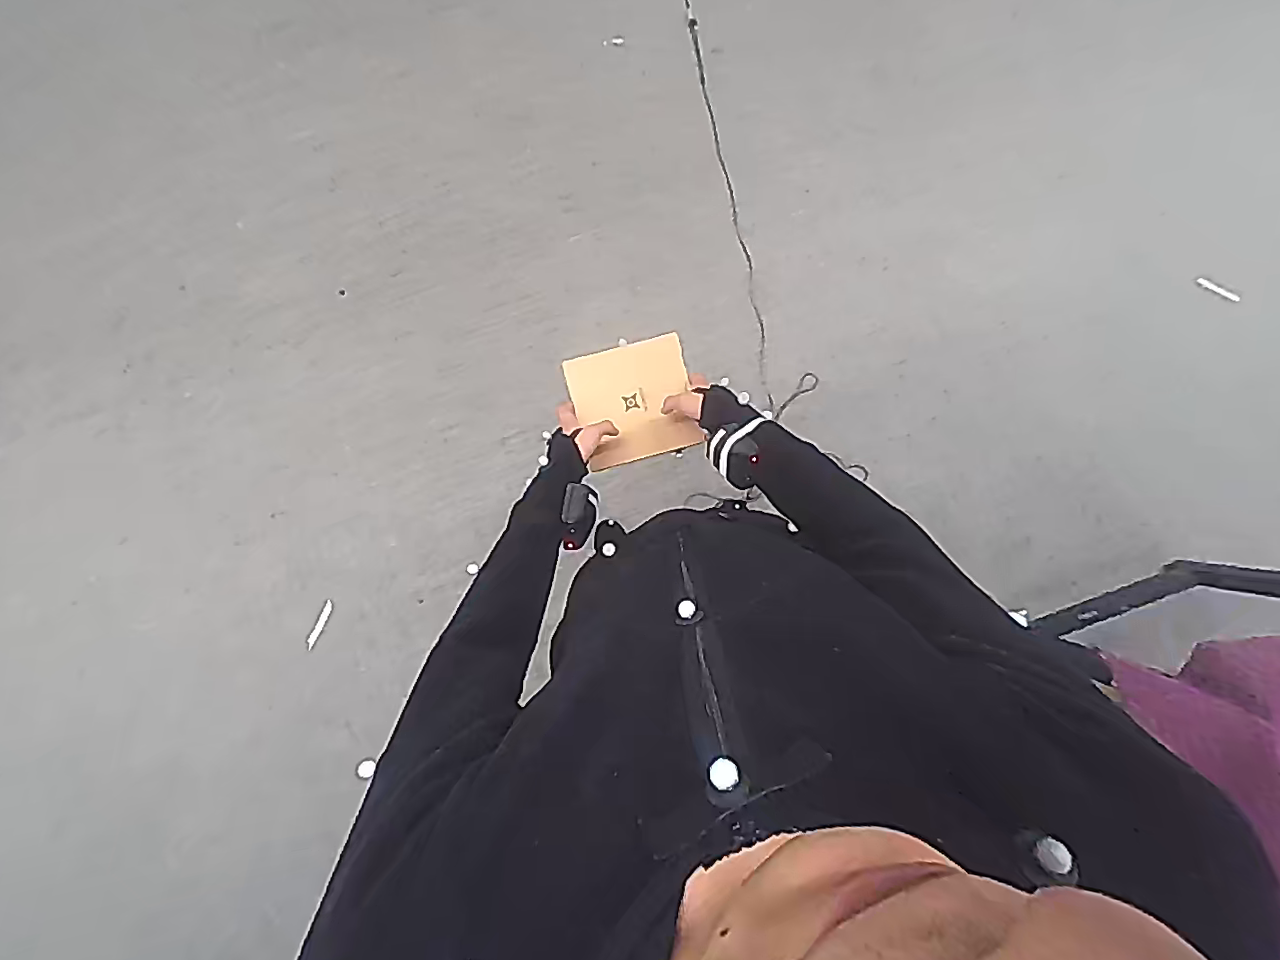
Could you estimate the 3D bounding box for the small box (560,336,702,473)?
[{"bbox_3d":[-0.014,-0.110,0.855,0.179,0.176,0.168,-16,93,-1],"label":"small box"}]
